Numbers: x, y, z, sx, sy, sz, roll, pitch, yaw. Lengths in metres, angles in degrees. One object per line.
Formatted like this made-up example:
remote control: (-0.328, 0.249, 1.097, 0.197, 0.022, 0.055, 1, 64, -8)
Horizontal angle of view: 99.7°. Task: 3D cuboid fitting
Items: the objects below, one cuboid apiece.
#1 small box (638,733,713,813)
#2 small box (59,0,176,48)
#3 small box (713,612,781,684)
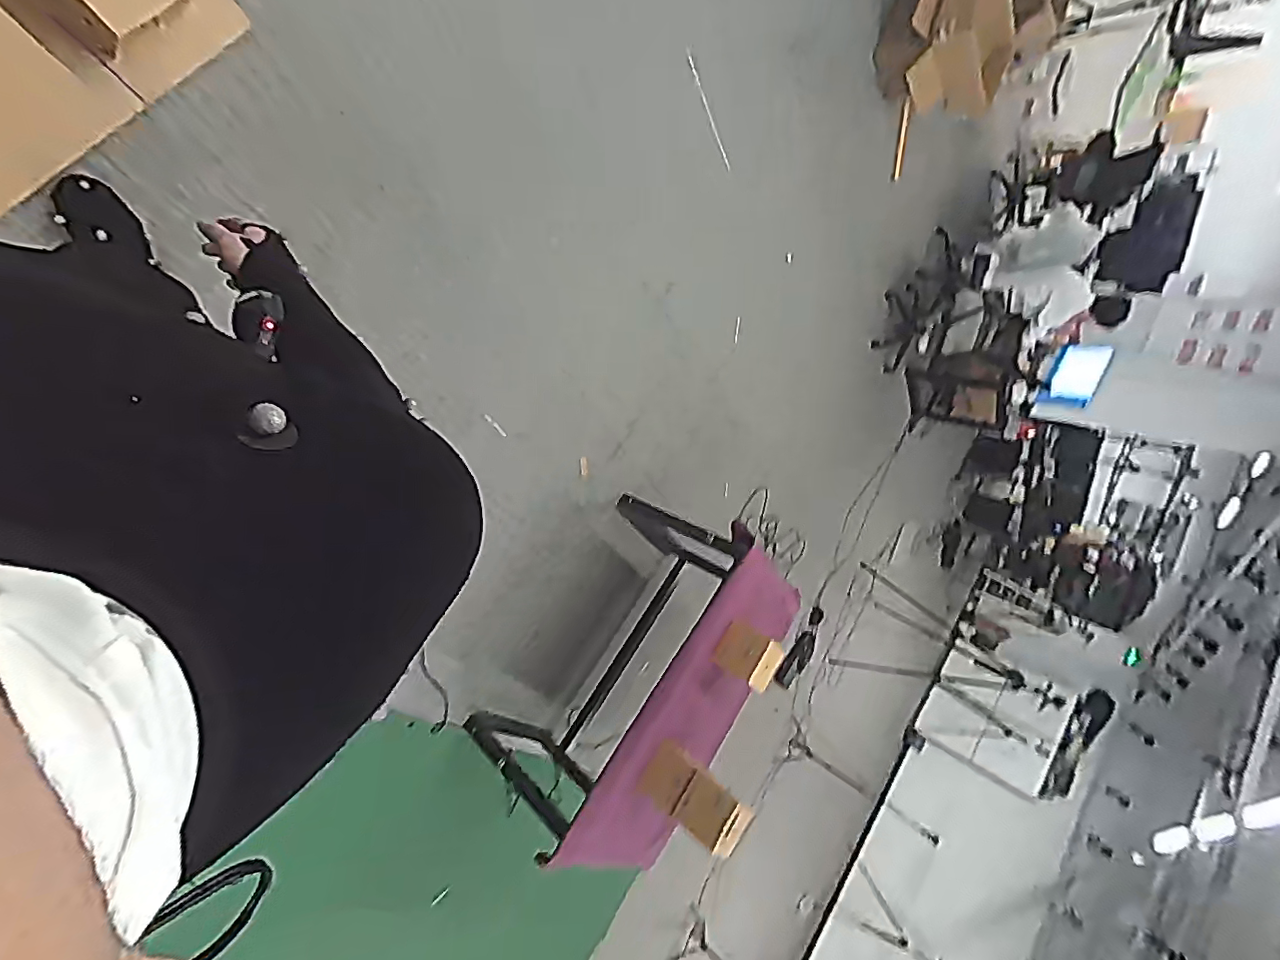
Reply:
small box: (0.122, 1.027, 1.904, 0.179, 0.176, 0.168, -53, 137, -15)
small box: (-0.961, -0.915, 0.959, 0.179, 0.176, 0.168, -53, 138, -15)
small box: (0.392, 0.624, 2.017, 0.179, 0.176, 0.168, -57, 138, -13)
